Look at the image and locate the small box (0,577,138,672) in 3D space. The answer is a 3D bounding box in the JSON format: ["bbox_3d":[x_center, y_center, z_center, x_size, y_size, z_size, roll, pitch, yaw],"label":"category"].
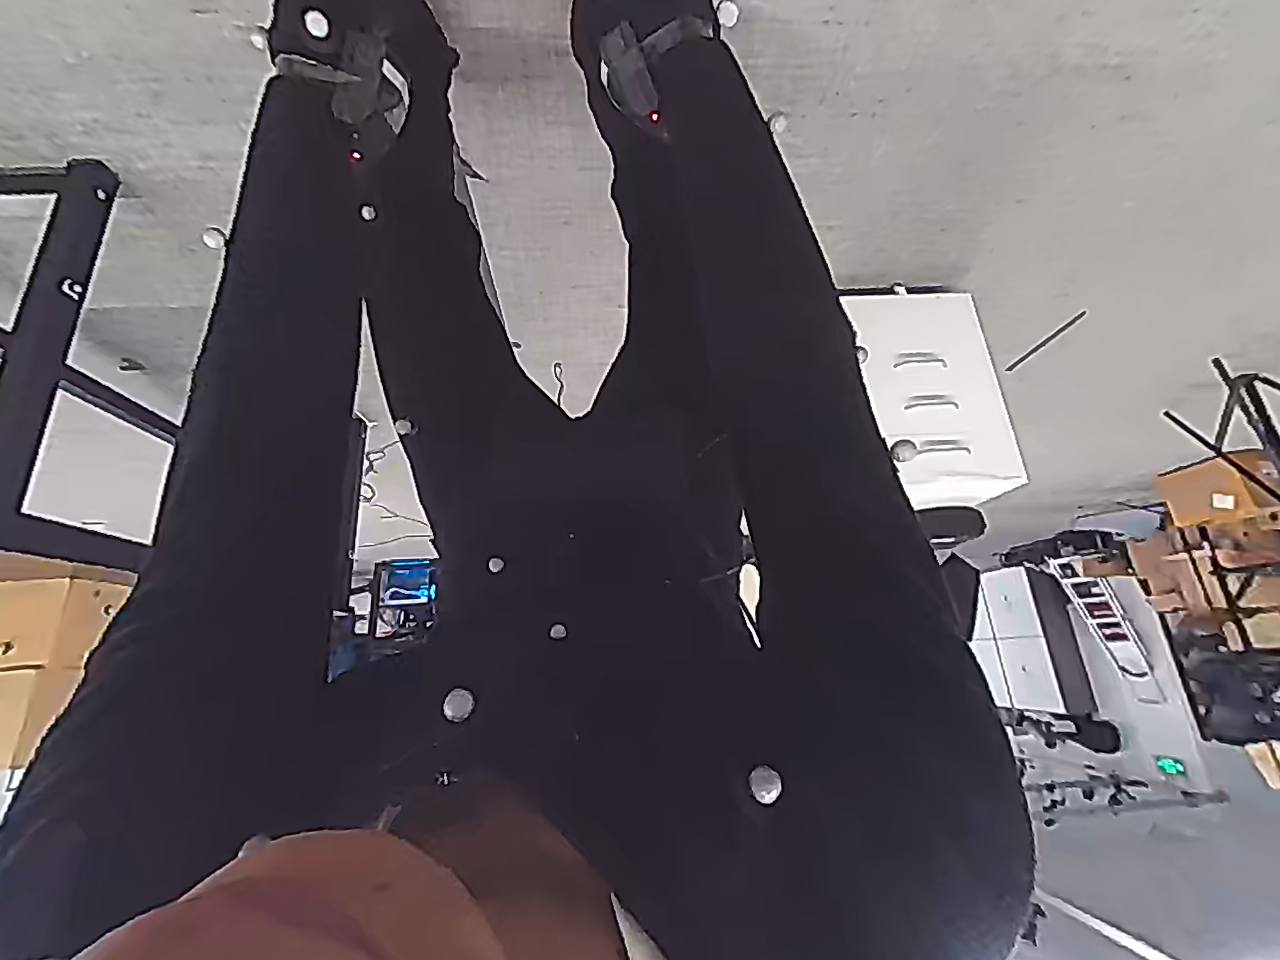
[{"bbox_3d":[-1.155,0.290,1.063,0.179,0.176,0.168,-3,161,-4],"label":"small box"}]

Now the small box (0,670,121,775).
[{"bbox_3d":[-1.138,0.445,1.010,0.168,0.176,0.179,-4,161,0],"label":"small box"}]
